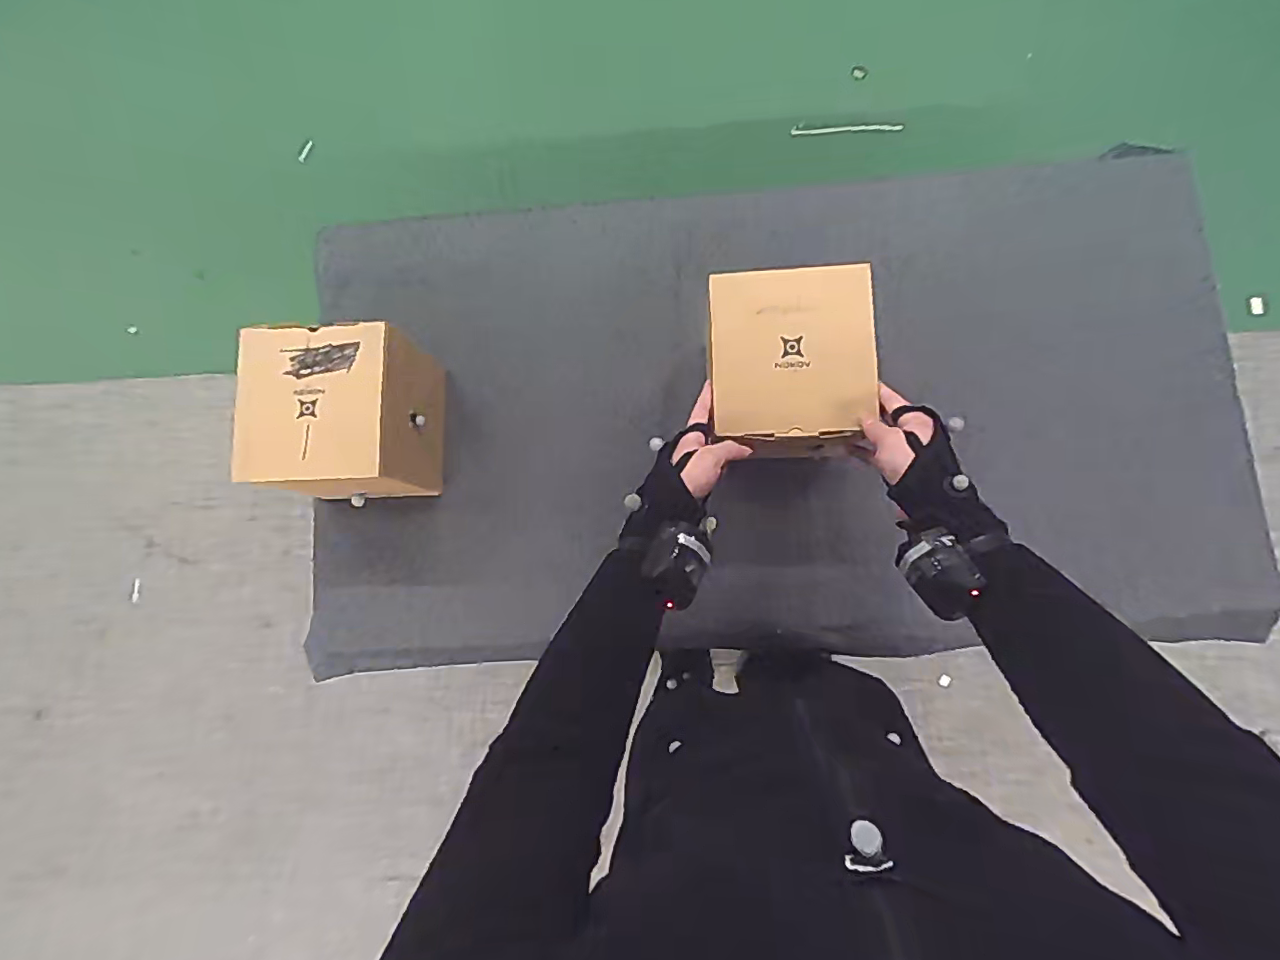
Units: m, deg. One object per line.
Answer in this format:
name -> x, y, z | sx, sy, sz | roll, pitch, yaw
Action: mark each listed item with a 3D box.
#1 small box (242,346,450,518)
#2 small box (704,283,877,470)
small box -> -0.347, -0.049, 0.670 | 0.168, 0.176, 0.179 | -3, 82, 2
small box -> 0.163, -0.107, 0.639 | 0.168, 0.176, 0.179 | -4, 83, 4
